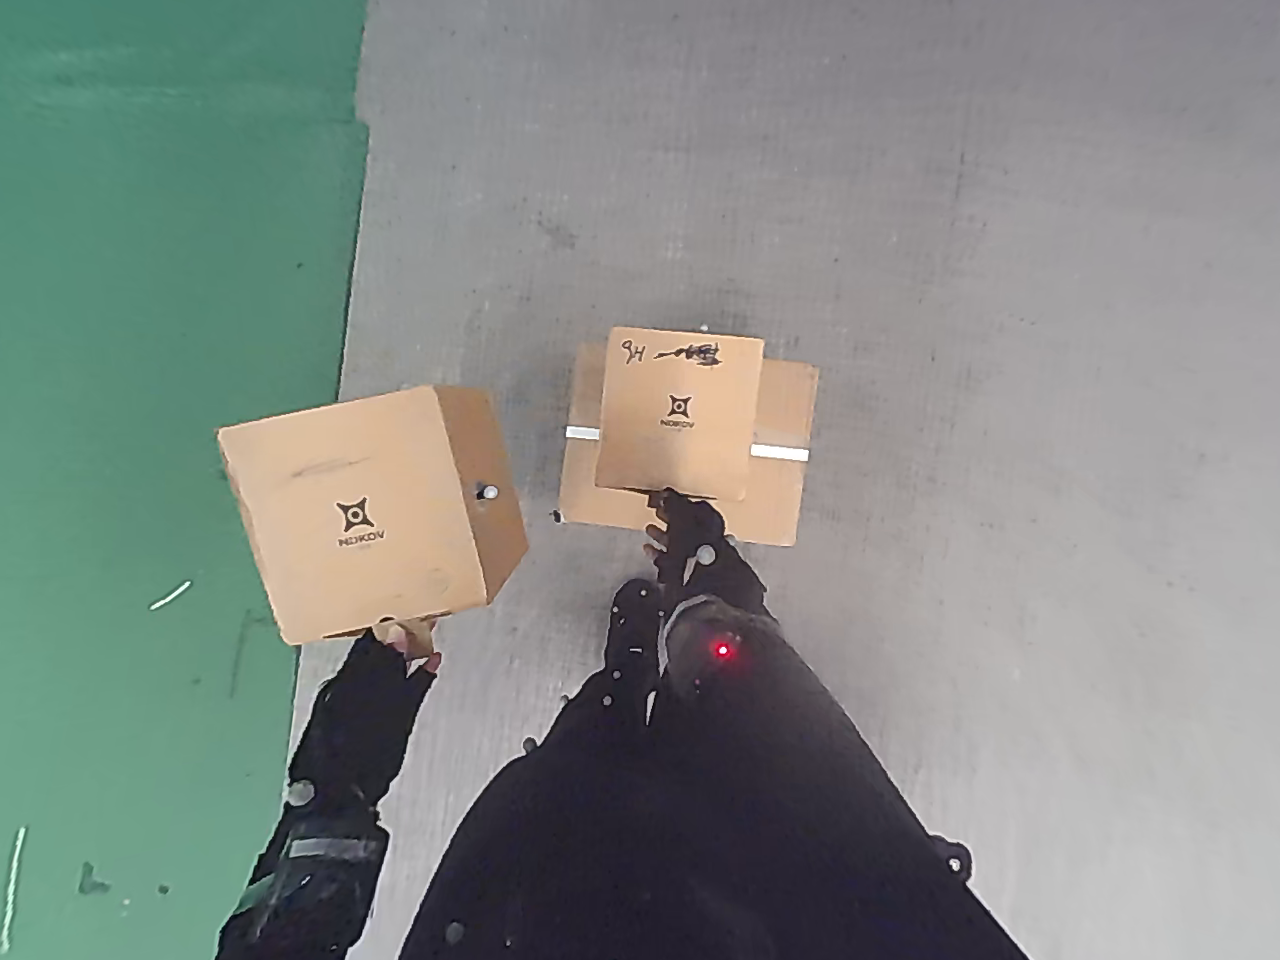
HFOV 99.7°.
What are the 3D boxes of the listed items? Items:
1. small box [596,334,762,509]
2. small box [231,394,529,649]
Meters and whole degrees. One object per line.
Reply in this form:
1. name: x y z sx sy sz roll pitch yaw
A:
1. small box: 0.048 -0.071 0.663 0.168 0.176 0.179 6 96 5
2. small box: -0.210 0.023 0.492 0.168 0.176 0.179 -13 97 0
